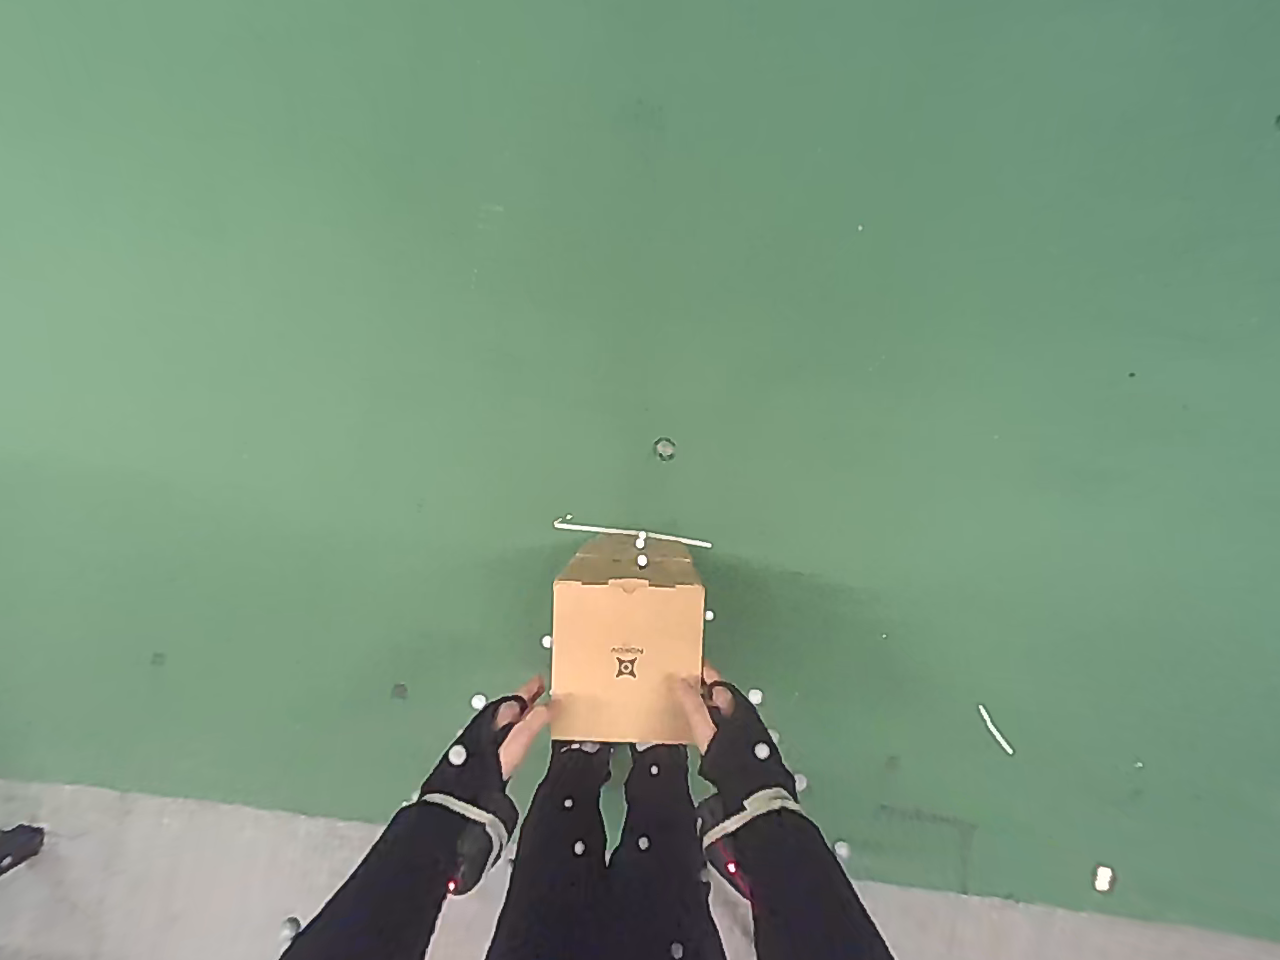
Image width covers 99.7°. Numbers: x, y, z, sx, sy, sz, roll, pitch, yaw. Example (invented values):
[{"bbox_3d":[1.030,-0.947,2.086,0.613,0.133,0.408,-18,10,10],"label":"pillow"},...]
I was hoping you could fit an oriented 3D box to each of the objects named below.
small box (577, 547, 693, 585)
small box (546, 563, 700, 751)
[{"bbox_3d":[-0.014,0.201,0.832,0.168,0.176,0.179,4,90,2],"label":"small box"},{"bbox_3d":[-0.017,0.206,0.670,0.168,0.176,0.179,2,90,1],"label":"small box"}]
